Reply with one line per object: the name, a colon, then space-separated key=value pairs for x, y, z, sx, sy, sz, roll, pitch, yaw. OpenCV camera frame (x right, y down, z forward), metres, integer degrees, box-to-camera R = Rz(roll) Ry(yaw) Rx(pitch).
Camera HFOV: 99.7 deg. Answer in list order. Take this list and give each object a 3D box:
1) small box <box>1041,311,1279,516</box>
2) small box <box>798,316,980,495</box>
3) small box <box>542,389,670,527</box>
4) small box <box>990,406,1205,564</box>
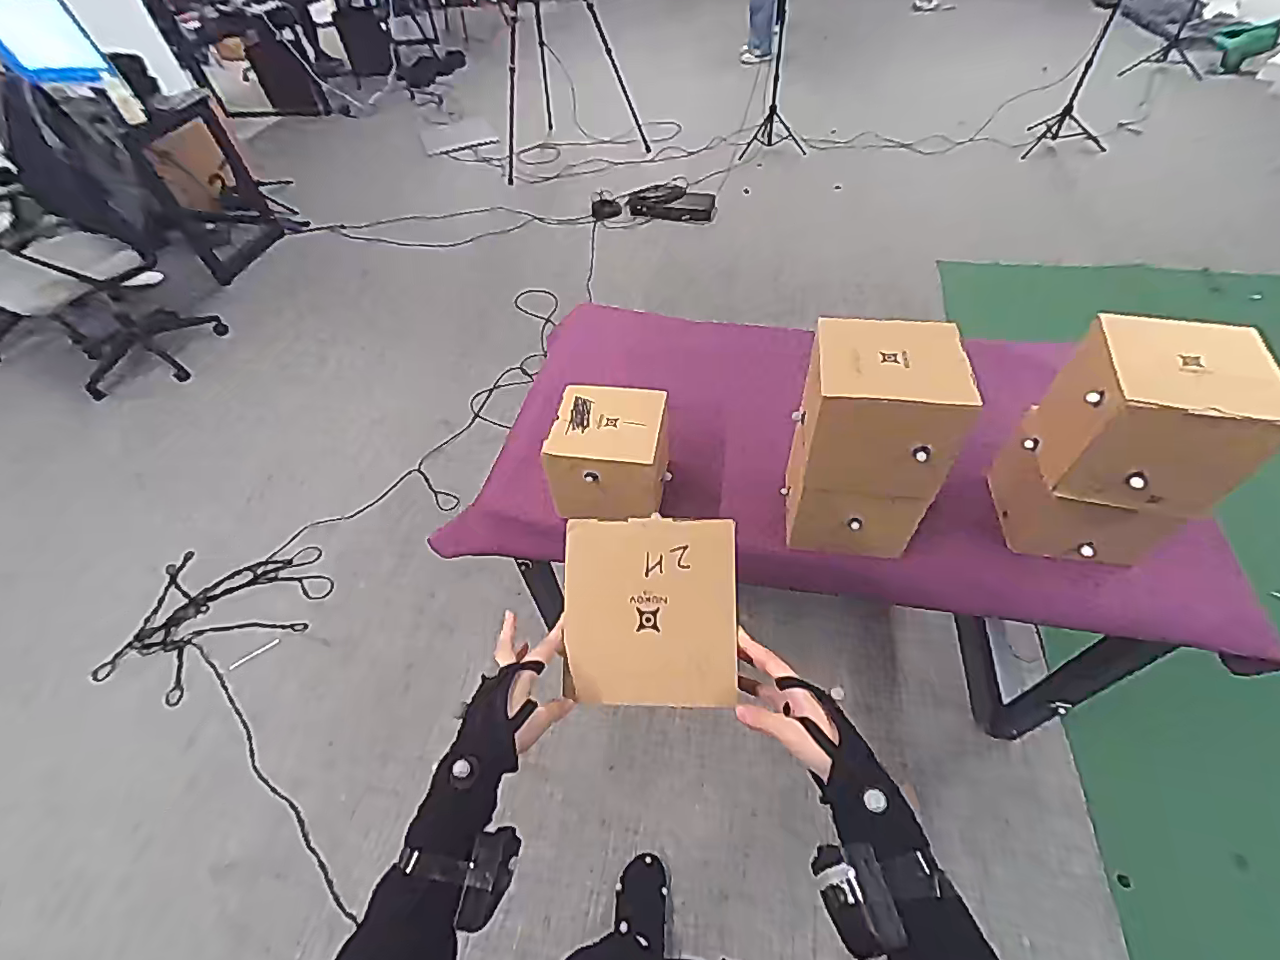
small box: x=0.638 y=-0.084 z=0.680 sx=0.168 sy=0.176 sz=0.179 roll=11 pitch=52 yaw=16
small box: x=0.314 y=-0.097 z=0.722 sx=0.179 sy=0.176 sz=0.168 roll=5 pitch=49 yaw=11
small box: x=-0.047 y=-0.036 z=0.921 sx=0.179 sy=0.176 sz=0.168 roll=5 pitch=50 yaw=9
small box: x=0.669 y=0.010 z=0.813 sx=0.179 sy=0.176 sz=0.168 roll=5 pitch=49 yaw=11
